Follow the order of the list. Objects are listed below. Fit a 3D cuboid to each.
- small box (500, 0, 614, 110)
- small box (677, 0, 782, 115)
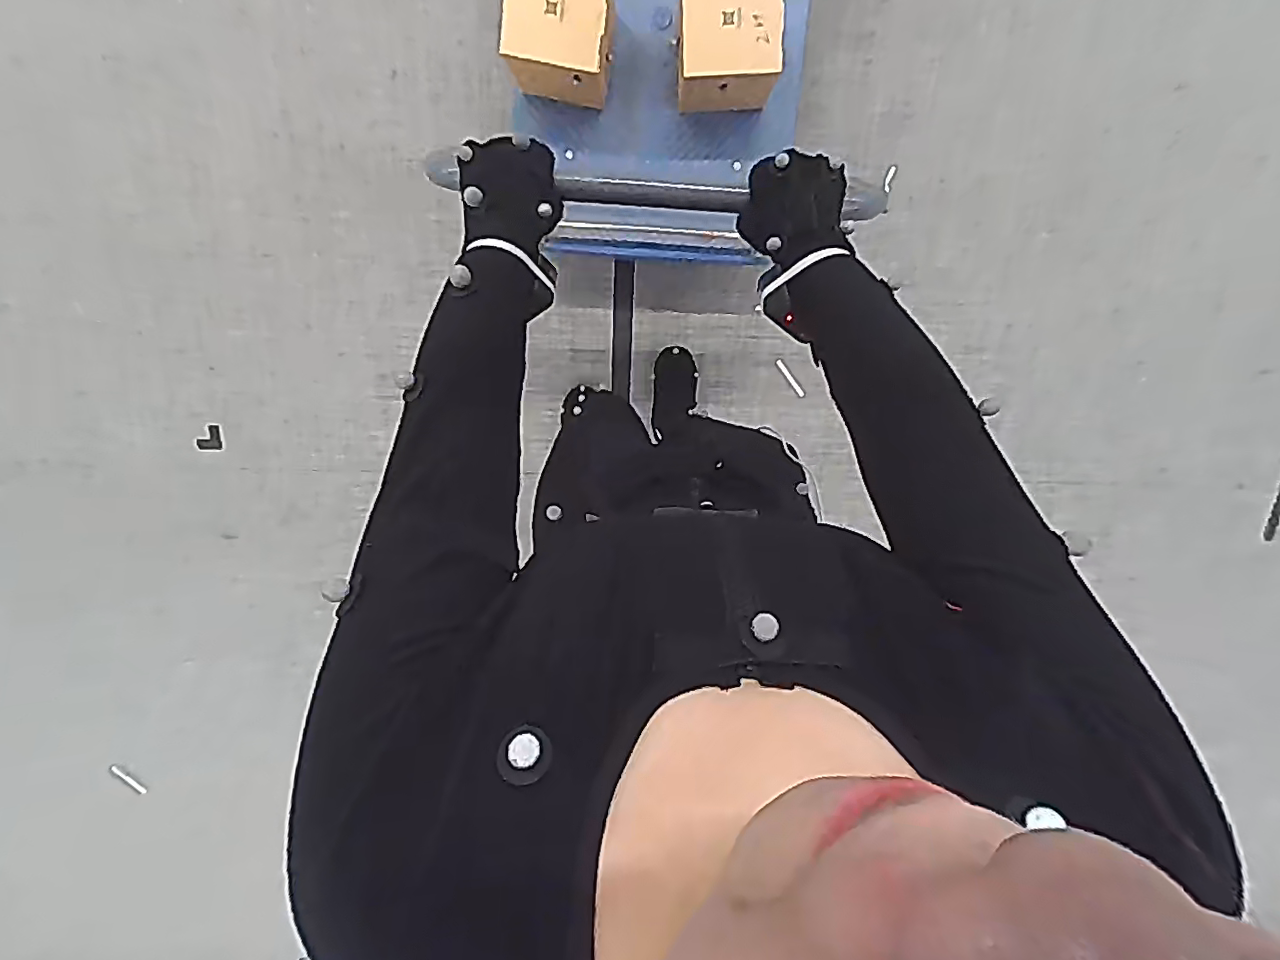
[{"bbox_3d":[-0.147,-0.823,1.007,0.179,0.176,0.168,9,106,-4],"label":"small box"},{"bbox_3d":[0.158,-0.806,1.010,0.179,0.176,0.168,-2,106,1],"label":"small box"}]
